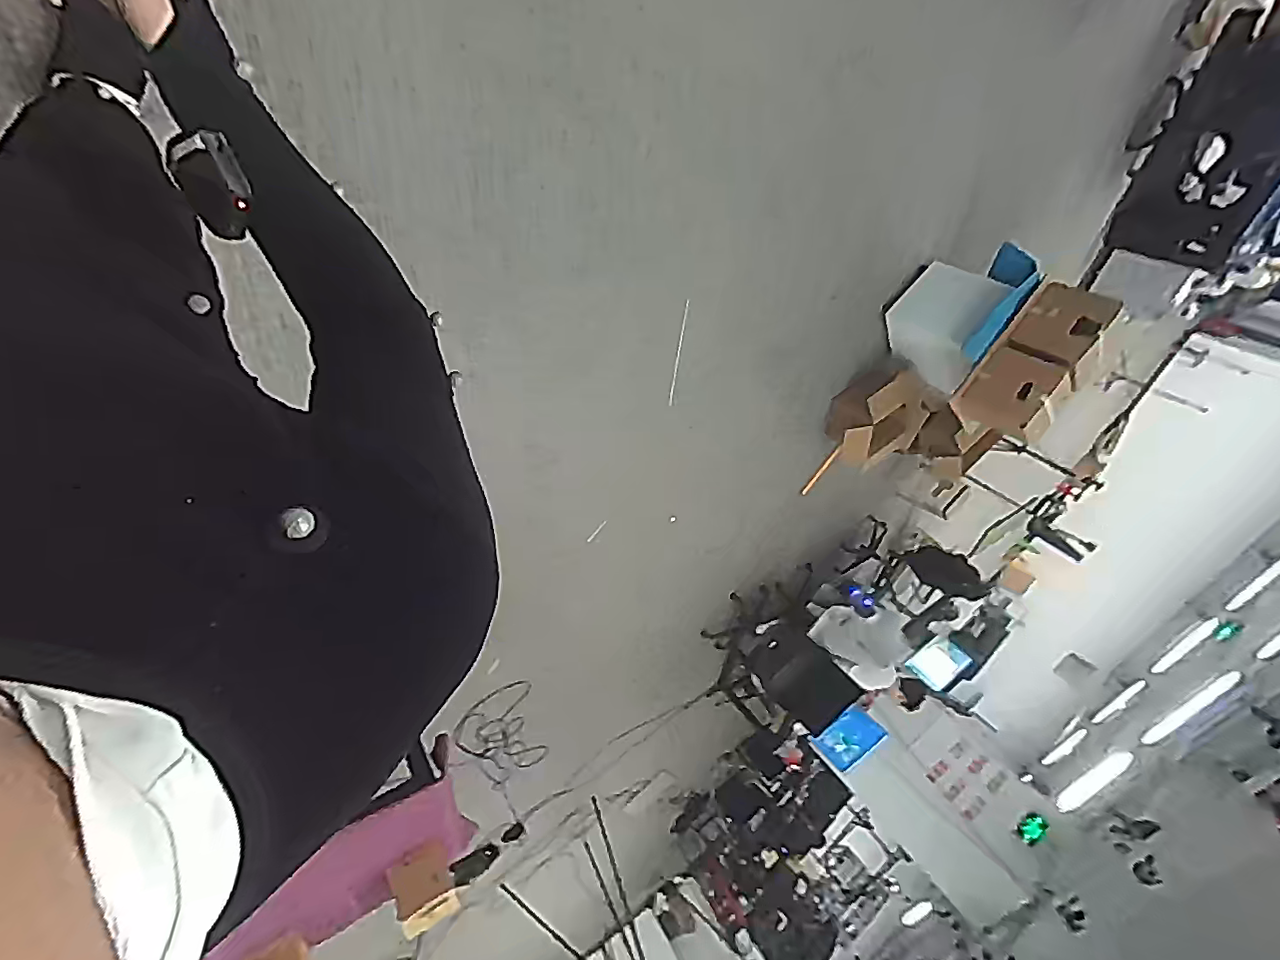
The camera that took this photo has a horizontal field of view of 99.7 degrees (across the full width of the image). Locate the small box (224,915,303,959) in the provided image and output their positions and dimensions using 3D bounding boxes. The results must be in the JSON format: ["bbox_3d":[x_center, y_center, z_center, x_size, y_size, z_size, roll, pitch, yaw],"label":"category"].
[{"bbox_3d":[-1.103,1.439,1.595,0.168,0.176,0.179,-15,132,-32],"label":"small box"}]
